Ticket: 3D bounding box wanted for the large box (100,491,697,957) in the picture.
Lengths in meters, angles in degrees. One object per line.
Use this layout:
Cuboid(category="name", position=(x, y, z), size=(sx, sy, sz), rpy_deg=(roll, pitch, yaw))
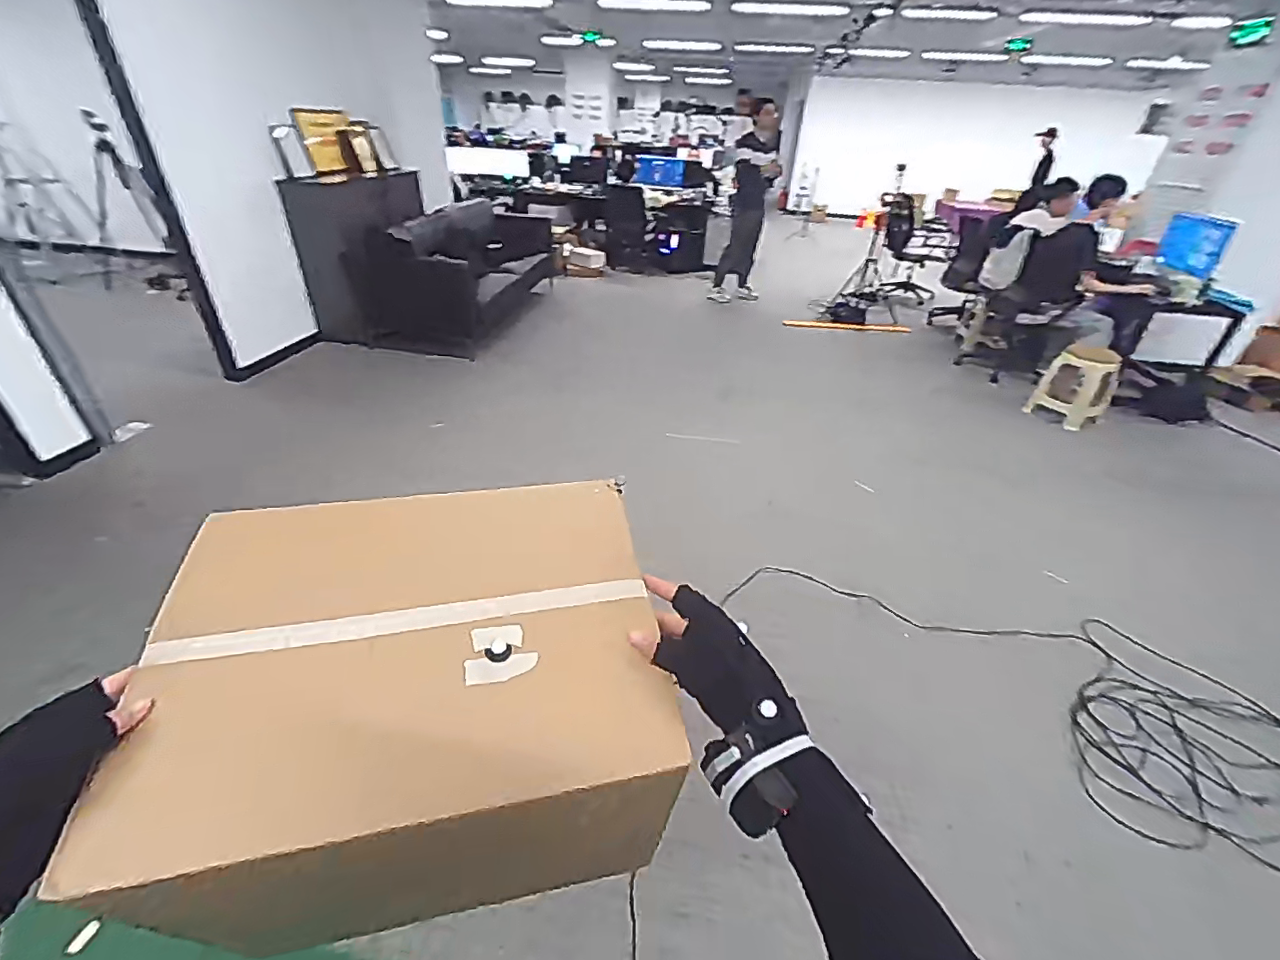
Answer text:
Cuboid(category="large box", position=(-0.192, 0.243, 0.582), size=(0.408, 0.320, 0.320), rpy_deg=(-5, 44, -12))
